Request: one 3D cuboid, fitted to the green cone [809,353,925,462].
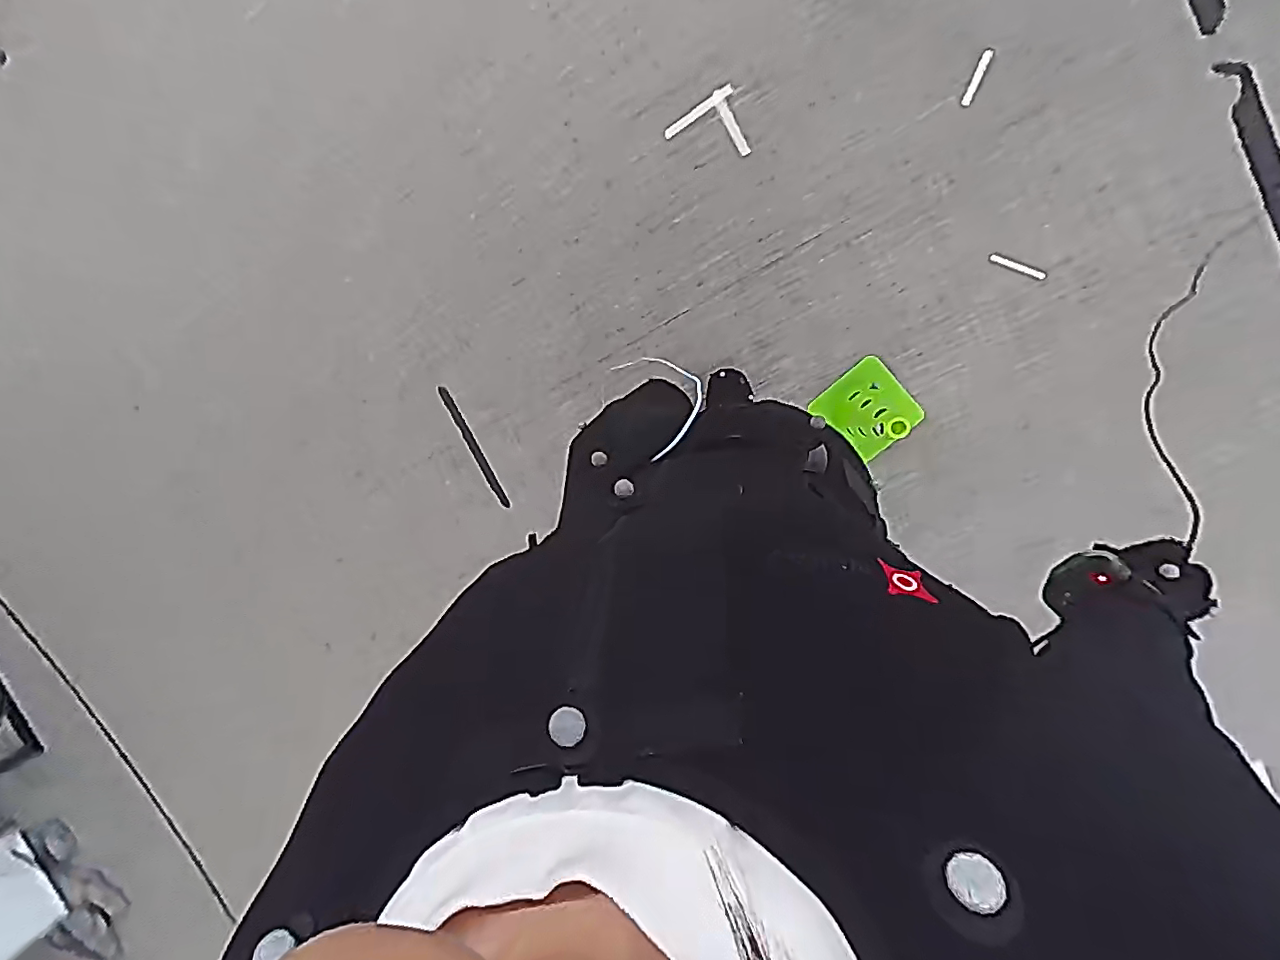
[{"bbox_3d":[0.500,-0.139,1.125,0.200,0.368,0.202,-42,89,16],"label":"green cone"}]
